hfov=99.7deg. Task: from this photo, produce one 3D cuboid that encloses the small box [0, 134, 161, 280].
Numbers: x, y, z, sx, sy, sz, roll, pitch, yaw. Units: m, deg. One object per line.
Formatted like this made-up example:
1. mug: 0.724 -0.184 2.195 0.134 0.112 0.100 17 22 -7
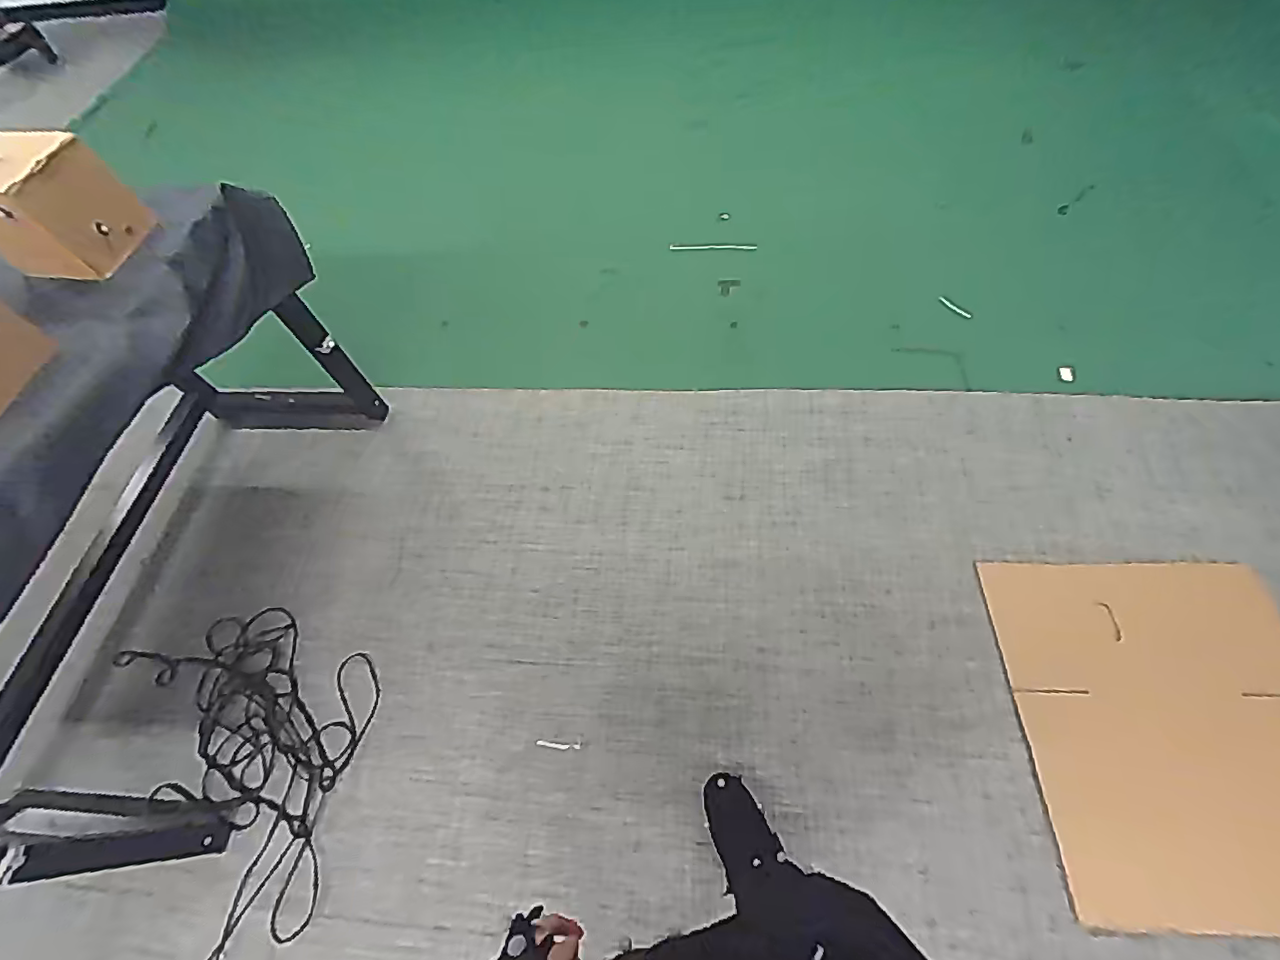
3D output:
1. small box: -1.017 -0.472 0.945 0.179 0.176 0.168 5 61 8
